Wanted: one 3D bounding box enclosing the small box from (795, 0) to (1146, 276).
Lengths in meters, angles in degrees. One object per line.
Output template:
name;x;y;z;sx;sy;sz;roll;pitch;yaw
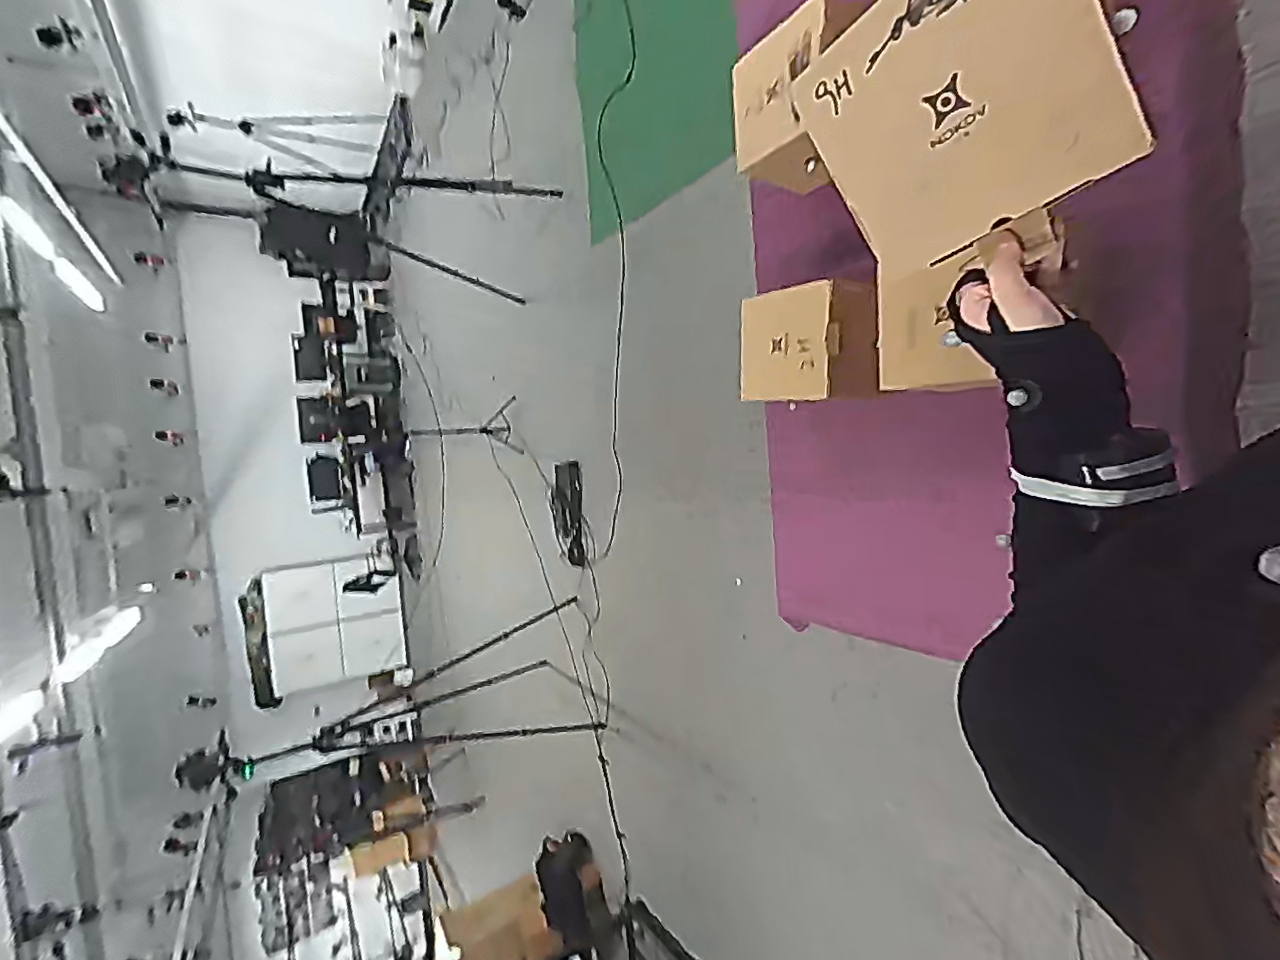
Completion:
small box;0.258;-0.300;0.421;0.168;0.176;0.179;-20;110;47

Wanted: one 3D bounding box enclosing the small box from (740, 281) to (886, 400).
small box;0.284;-0.215;0.880;0.179;0.176;0.168;11;104;55

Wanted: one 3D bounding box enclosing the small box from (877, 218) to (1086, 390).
small box;0.424;-0.203;0.676;0.179;0.176;0.168;4;98;57
